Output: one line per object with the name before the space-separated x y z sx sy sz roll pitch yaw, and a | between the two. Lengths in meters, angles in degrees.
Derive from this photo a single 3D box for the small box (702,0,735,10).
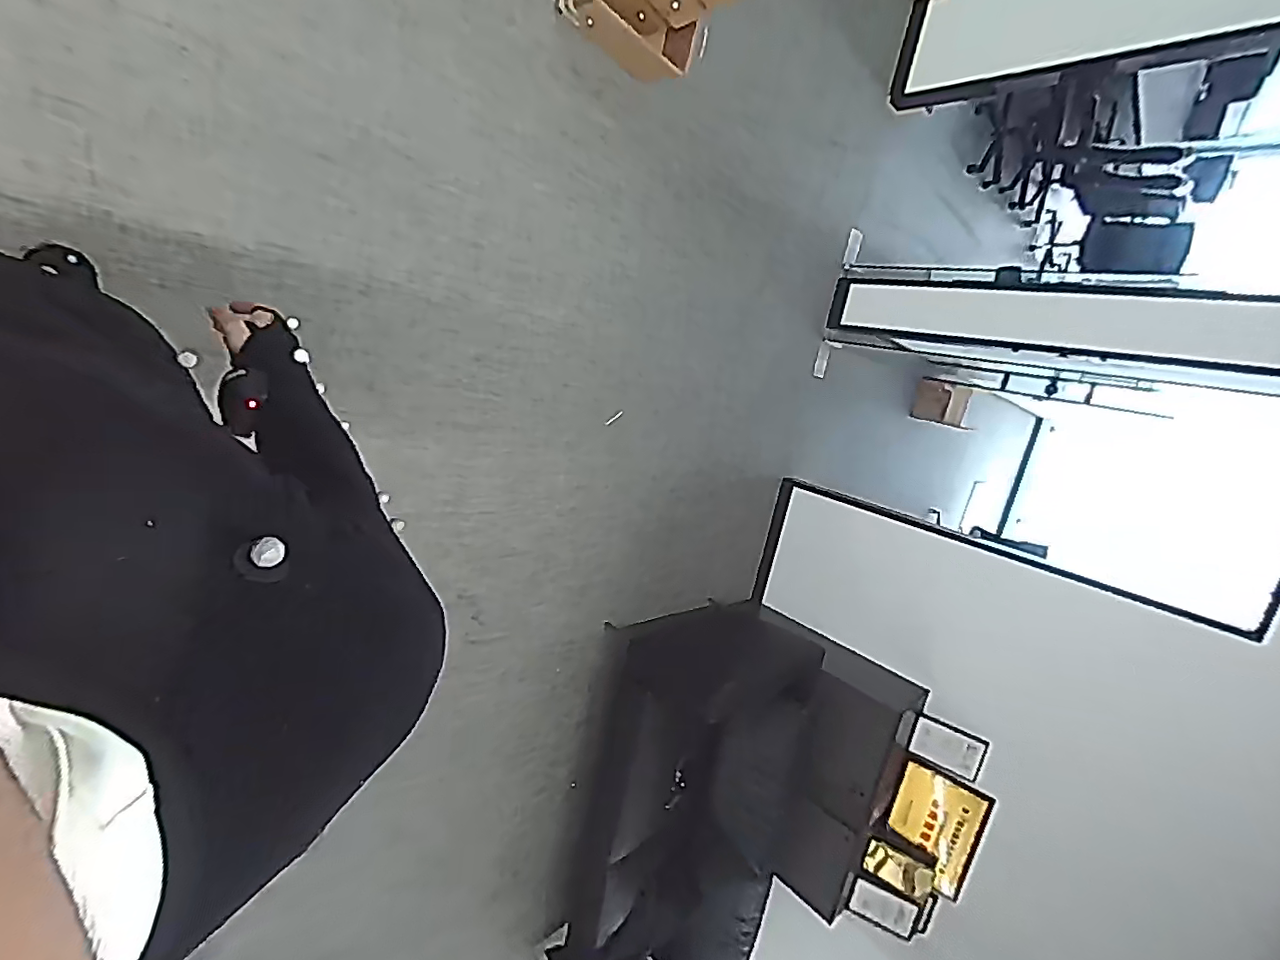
small box | 0.224 -1.364 1.380 0.168 0.176 0.179 18 93 -47

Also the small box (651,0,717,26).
small box | 0.125 -1.421 1.501 0.168 0.176 0.179 7 102 -46
